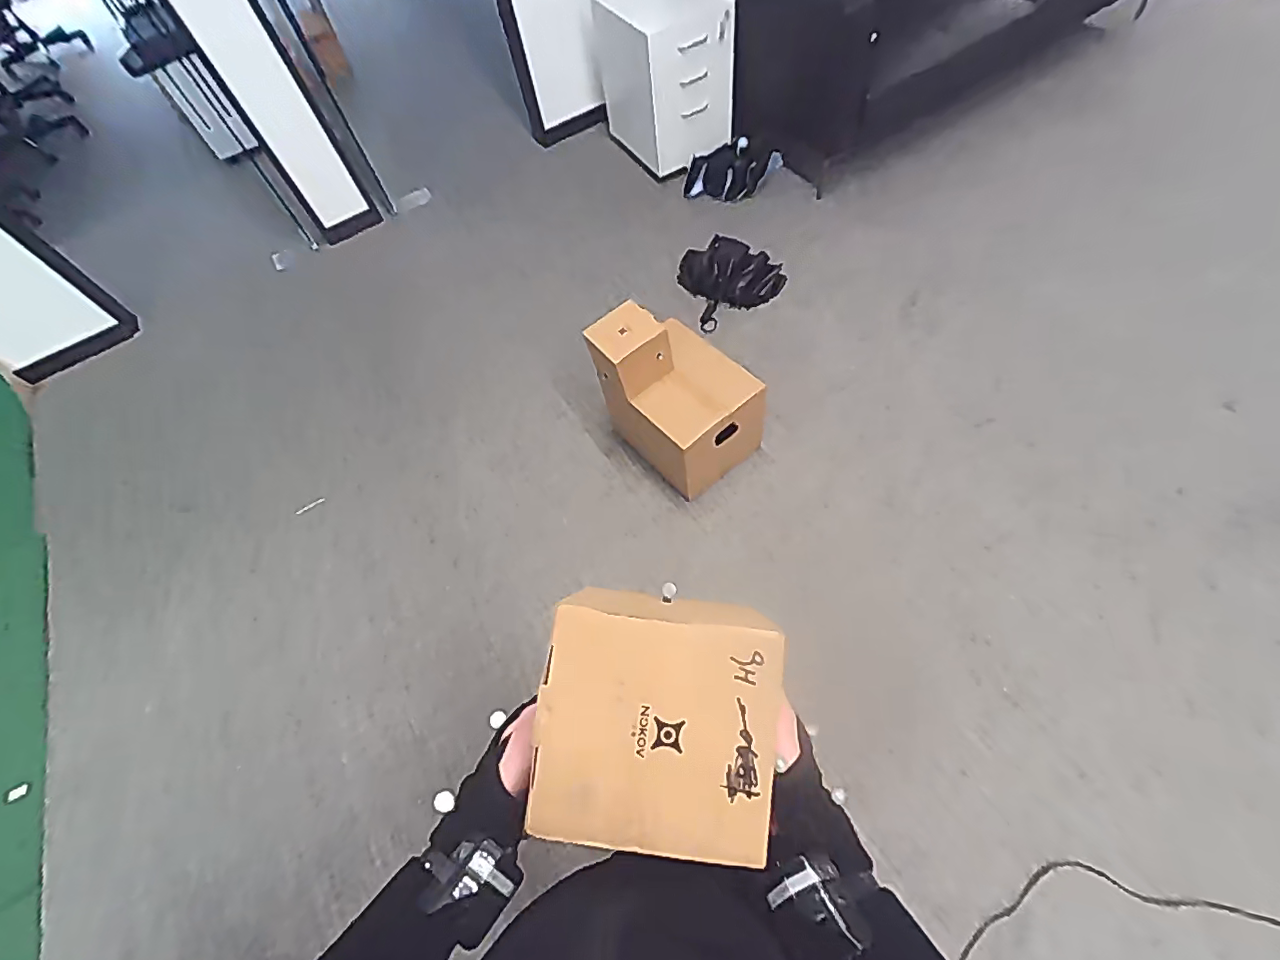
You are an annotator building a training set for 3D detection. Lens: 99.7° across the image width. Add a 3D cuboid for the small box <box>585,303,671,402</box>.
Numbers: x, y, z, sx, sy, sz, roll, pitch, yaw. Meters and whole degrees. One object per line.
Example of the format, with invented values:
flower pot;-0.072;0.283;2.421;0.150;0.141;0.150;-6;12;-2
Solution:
small box;-0.026;-0.358;1.534;0.179;0.176;0.168;-38;60;-9
